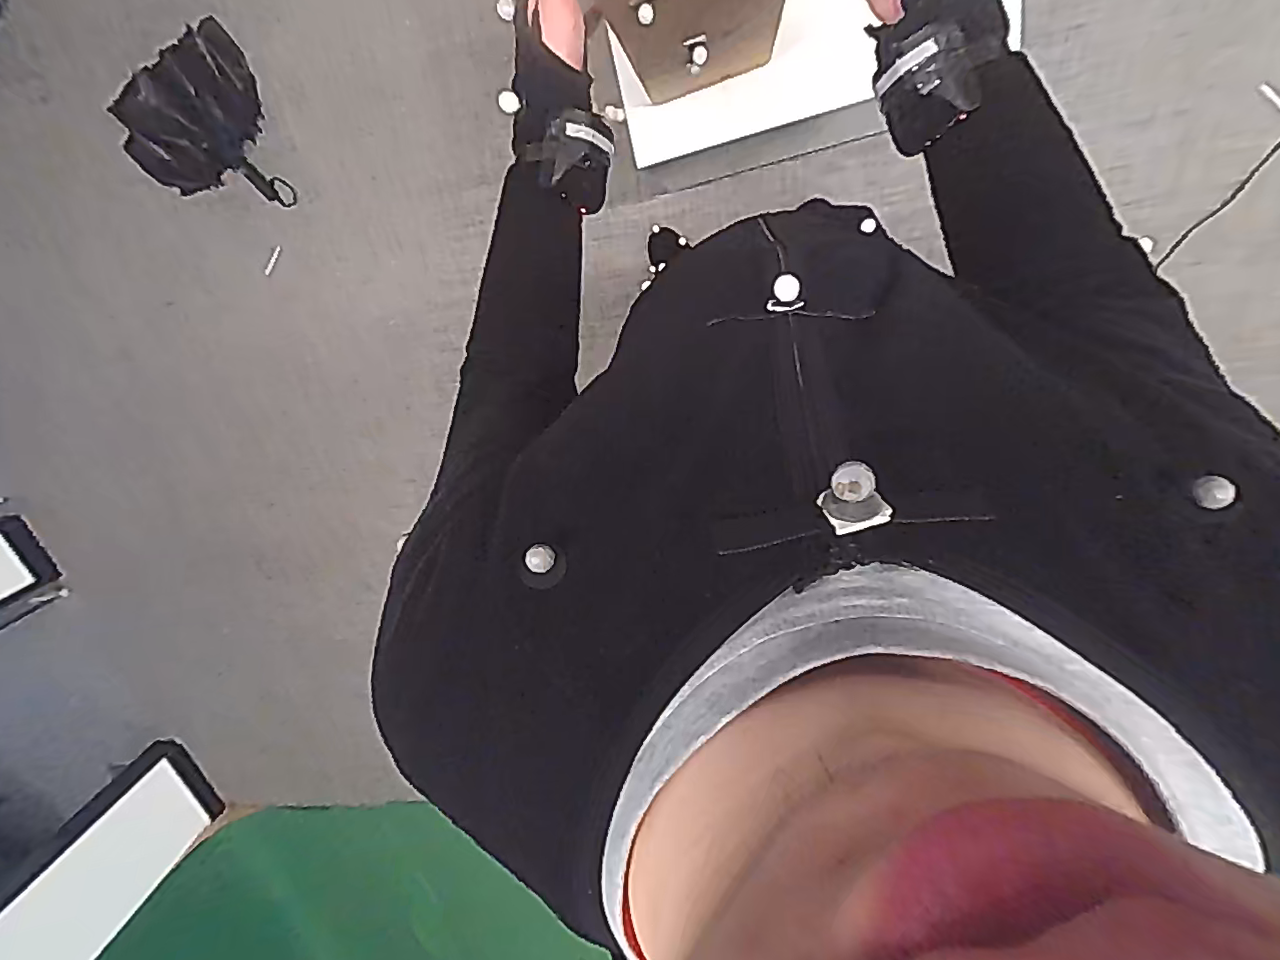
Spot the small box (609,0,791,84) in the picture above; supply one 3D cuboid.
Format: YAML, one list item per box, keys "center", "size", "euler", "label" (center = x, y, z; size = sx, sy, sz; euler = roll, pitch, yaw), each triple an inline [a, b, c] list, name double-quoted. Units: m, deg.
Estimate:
- center: [0.042, -0.513, 0.500]
  size: [0.168, 0.176, 0.179]
  euler: [-13, 111, 16]
  label: "small box"

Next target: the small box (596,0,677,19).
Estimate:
- center: [0.014, -0.448, 0.351]
  size: [0.168, 0.176, 0.179]
  euler: [-14, 109, 15]
  label: "small box"

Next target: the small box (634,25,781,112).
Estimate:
- center: [0.065, -0.580, 0.645]
  size: [0.168, 0.176, 0.179]
  euler: [-11, 111, 14]
  label: "small box"
